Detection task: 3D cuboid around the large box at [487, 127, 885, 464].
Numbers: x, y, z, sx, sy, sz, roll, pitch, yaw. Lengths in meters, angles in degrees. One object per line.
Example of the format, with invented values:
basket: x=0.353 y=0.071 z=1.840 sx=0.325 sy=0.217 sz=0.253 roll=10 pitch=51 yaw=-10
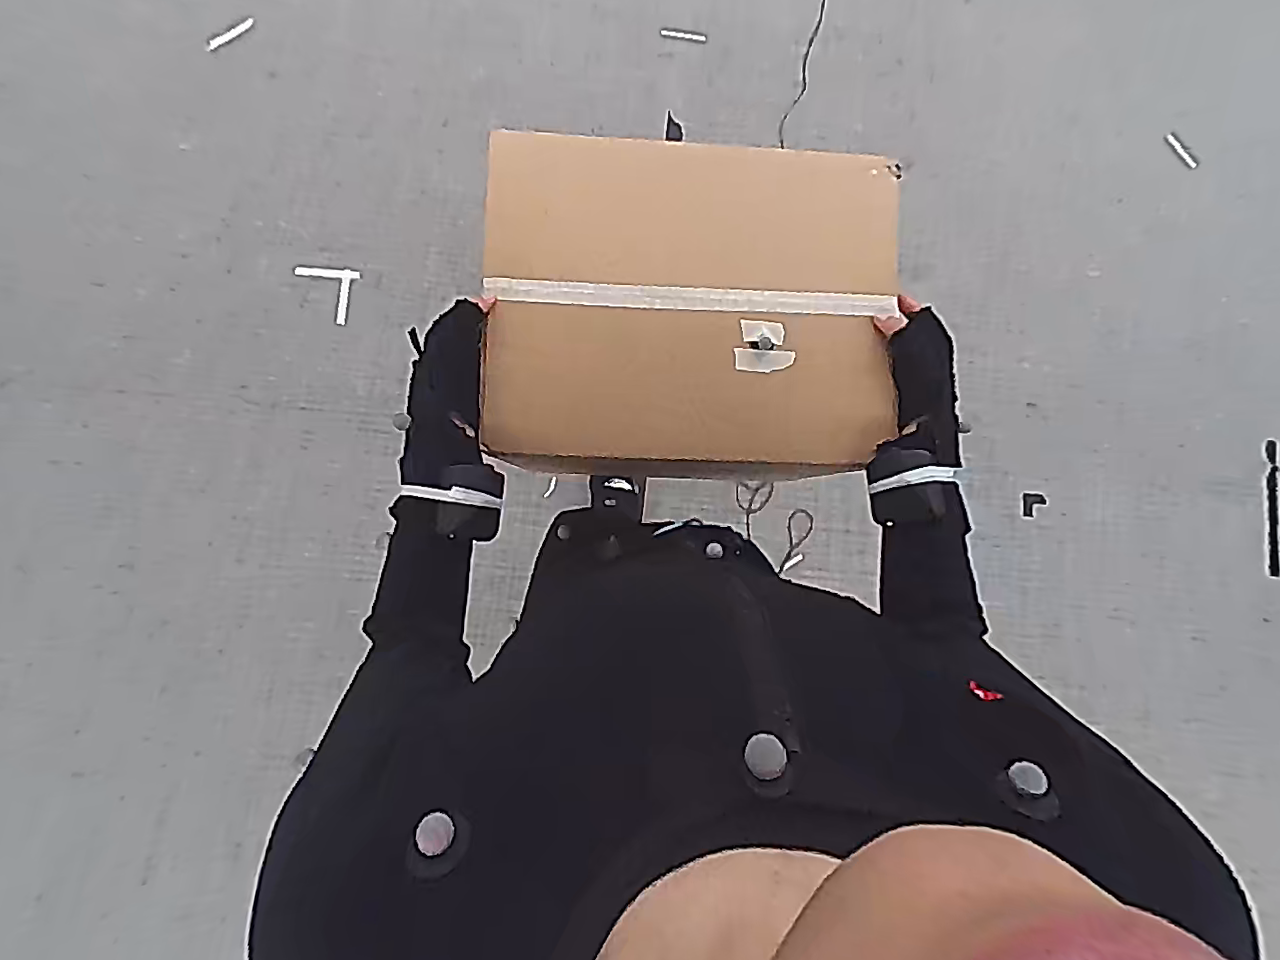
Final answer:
large box: x=0.039 y=-0.187 z=0.688 sx=0.408 sy=0.320 sz=0.320 roll=2 pitch=89 yaw=-4
